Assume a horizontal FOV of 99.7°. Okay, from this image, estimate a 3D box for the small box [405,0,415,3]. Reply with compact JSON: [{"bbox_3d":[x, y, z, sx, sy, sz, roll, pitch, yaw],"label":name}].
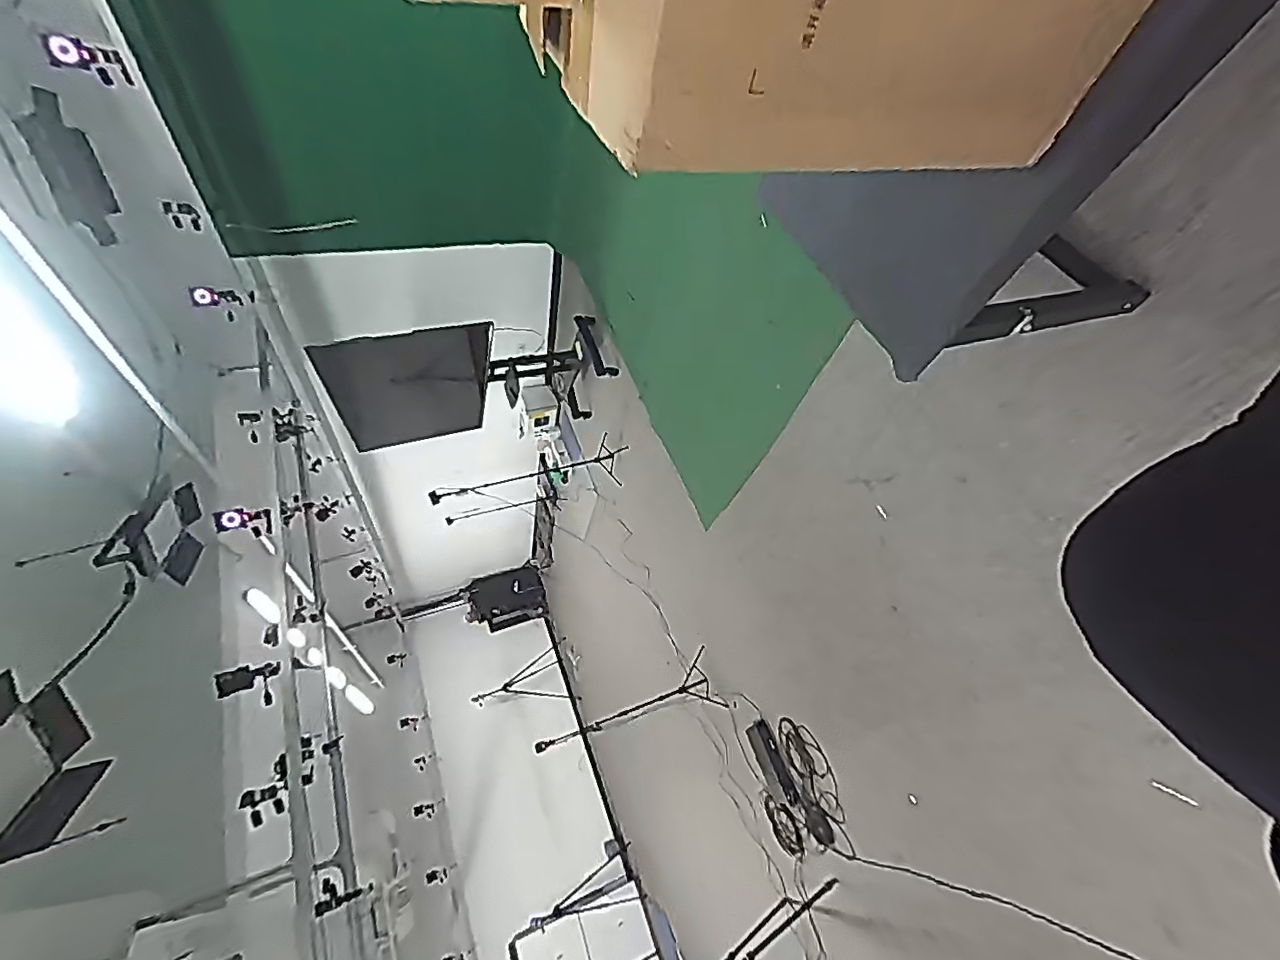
[{"bbox_3d":[-0.148,-0.540,0.441,0.168,0.176,0.179,59,154,12],"label":"small box"}]
